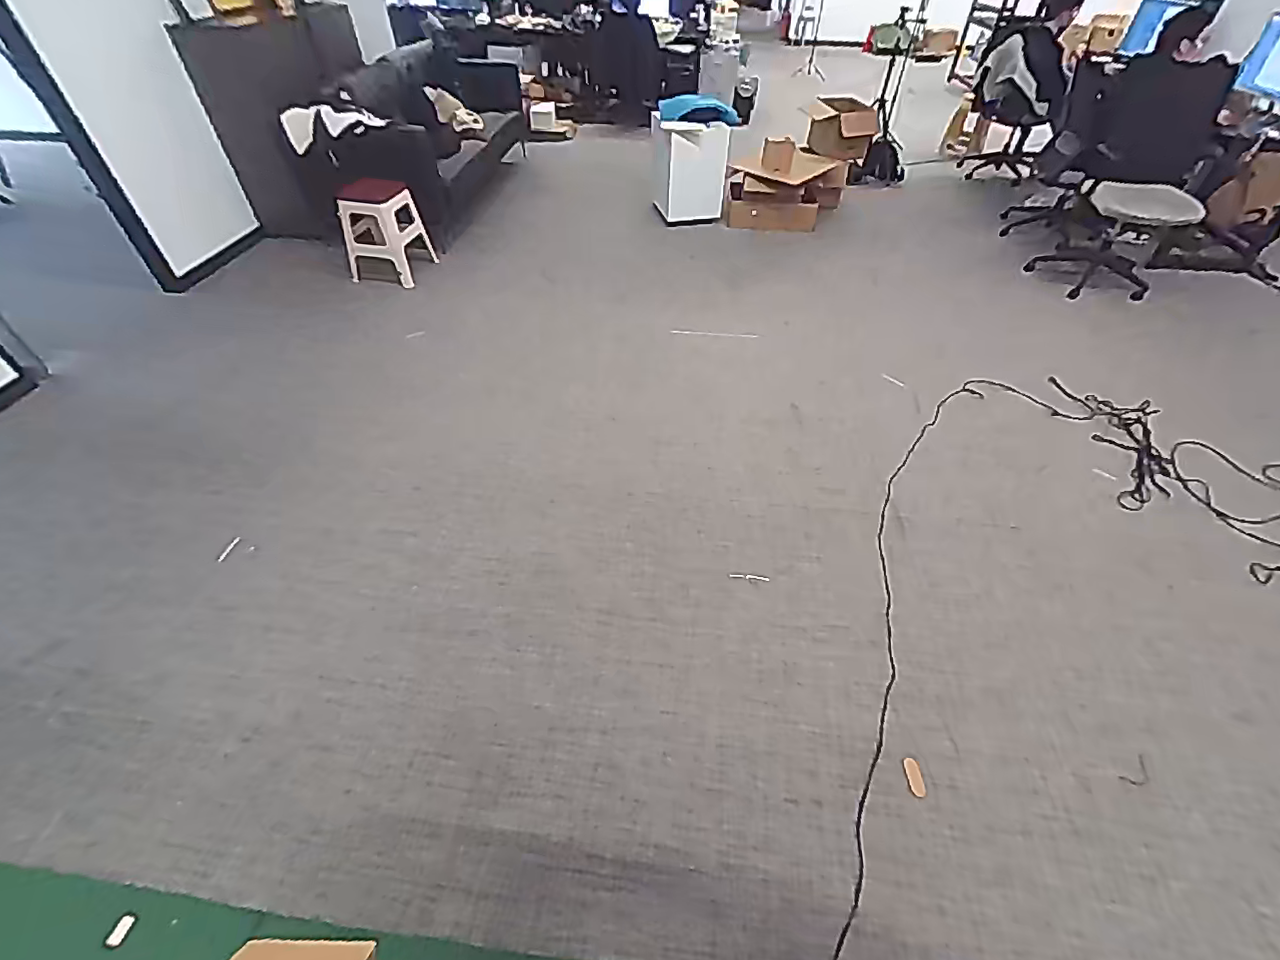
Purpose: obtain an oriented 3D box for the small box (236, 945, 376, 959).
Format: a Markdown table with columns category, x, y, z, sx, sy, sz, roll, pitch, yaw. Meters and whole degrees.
| category | x | y | z | sx | sy | sz | roll | pitch | yaw |
| --- | --- | --- | --- | --- | --- | --- | --- | --- | --- |
| small box | -0.424 | 0.671 | 0.602 | 0.168 | 0.179 | 0.176 | 2 | 80 | -2 |
